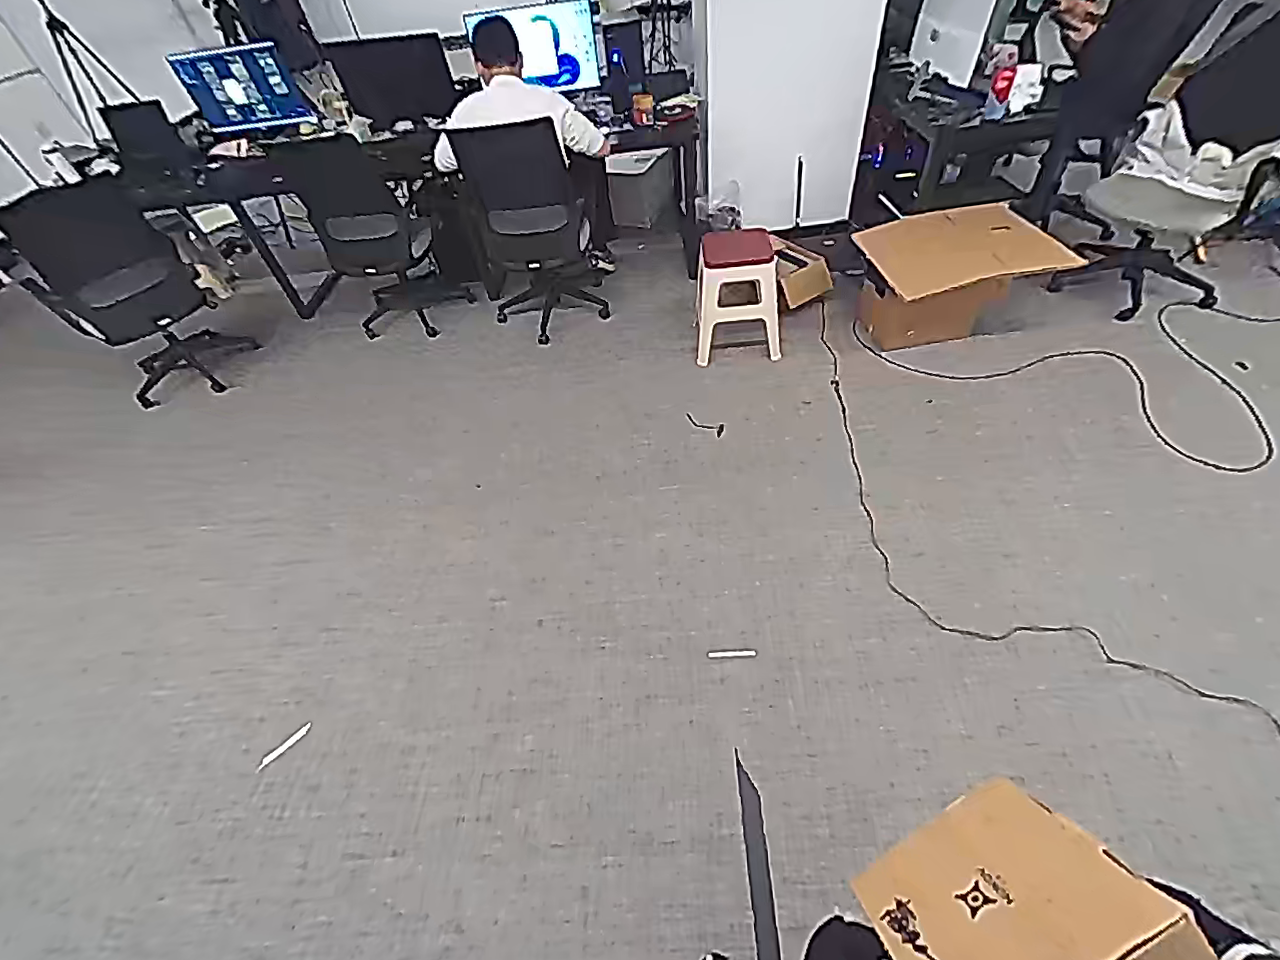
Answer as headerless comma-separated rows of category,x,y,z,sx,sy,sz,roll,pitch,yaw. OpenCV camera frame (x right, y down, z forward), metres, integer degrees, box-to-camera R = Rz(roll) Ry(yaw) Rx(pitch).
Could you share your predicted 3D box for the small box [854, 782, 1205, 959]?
small box,0.316,0.396,0.429,0.179,0.168,0.176,-32,90,-3
